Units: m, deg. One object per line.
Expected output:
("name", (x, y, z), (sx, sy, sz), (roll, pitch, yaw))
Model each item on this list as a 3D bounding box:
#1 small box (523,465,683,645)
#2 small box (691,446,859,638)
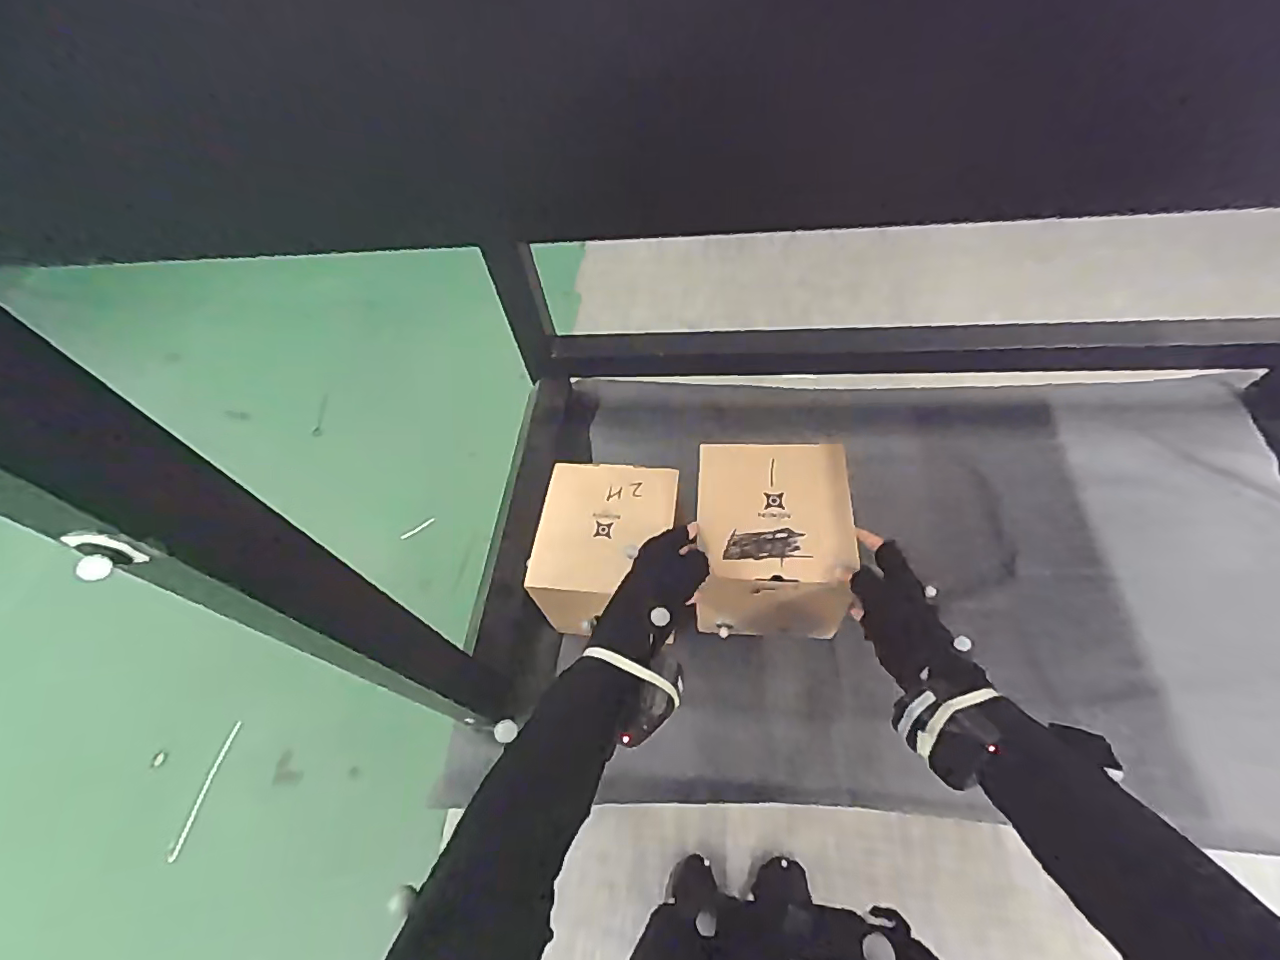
("small box", (-0.034, 0.102, 0.707), (0.168, 0.176, 0.179), (4, 56, 8))
("small box", (0.151, 0.078, 0.645), (0.168, 0.176, 0.179), (1, 55, 9))
